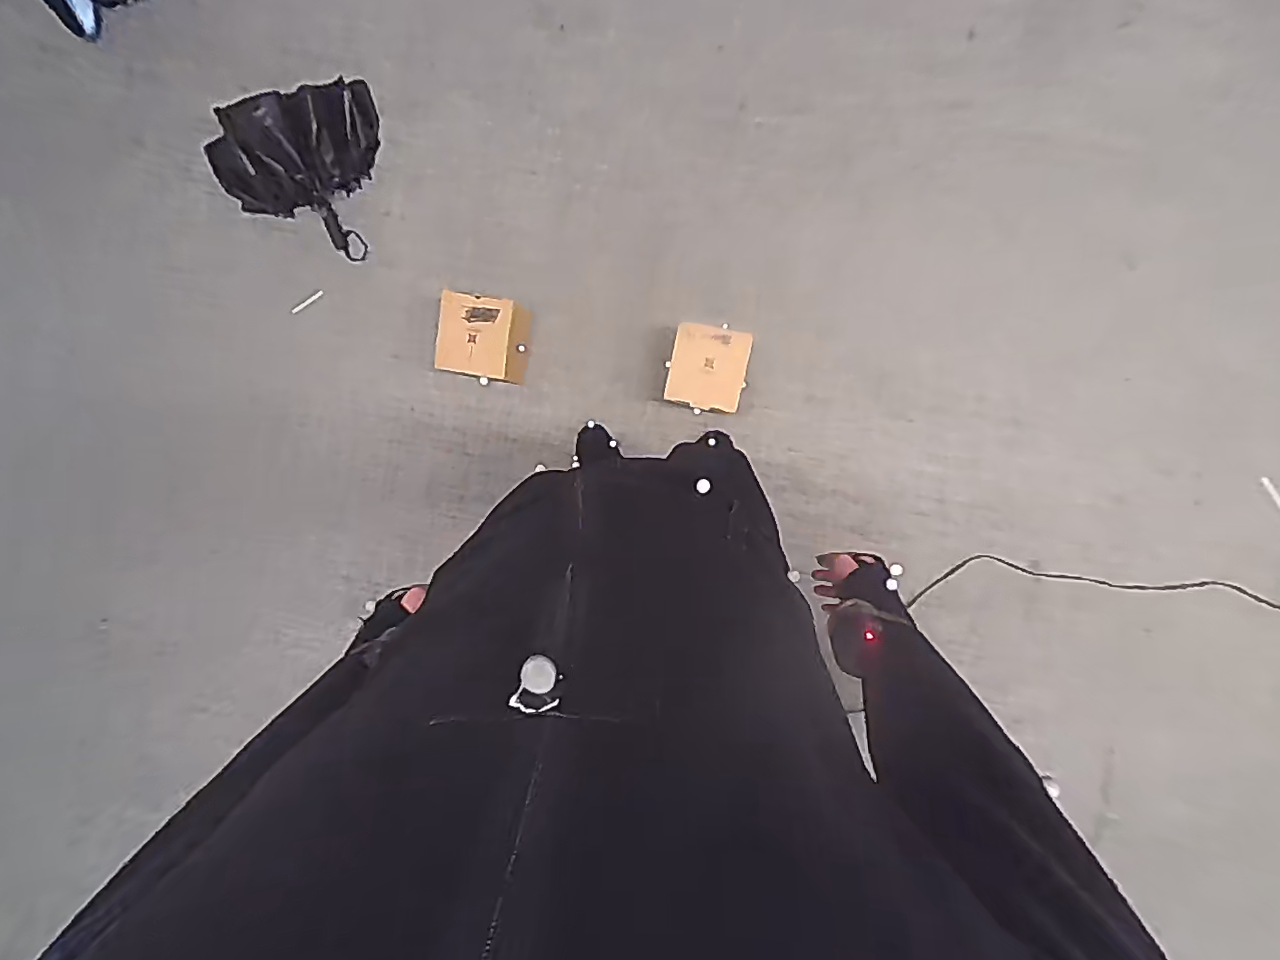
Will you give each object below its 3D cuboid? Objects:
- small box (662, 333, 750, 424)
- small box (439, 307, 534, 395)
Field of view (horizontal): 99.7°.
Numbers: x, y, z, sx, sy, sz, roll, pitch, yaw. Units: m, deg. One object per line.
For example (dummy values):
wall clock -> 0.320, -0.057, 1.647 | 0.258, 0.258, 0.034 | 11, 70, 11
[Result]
small box -> 0.153, -0.234, 1.272 | 0.168, 0.176, 0.179 | 12, 98, 4
small box -> -0.364, -0.305, 1.310 | 0.168, 0.176, 0.179 | 9, 98, 4
